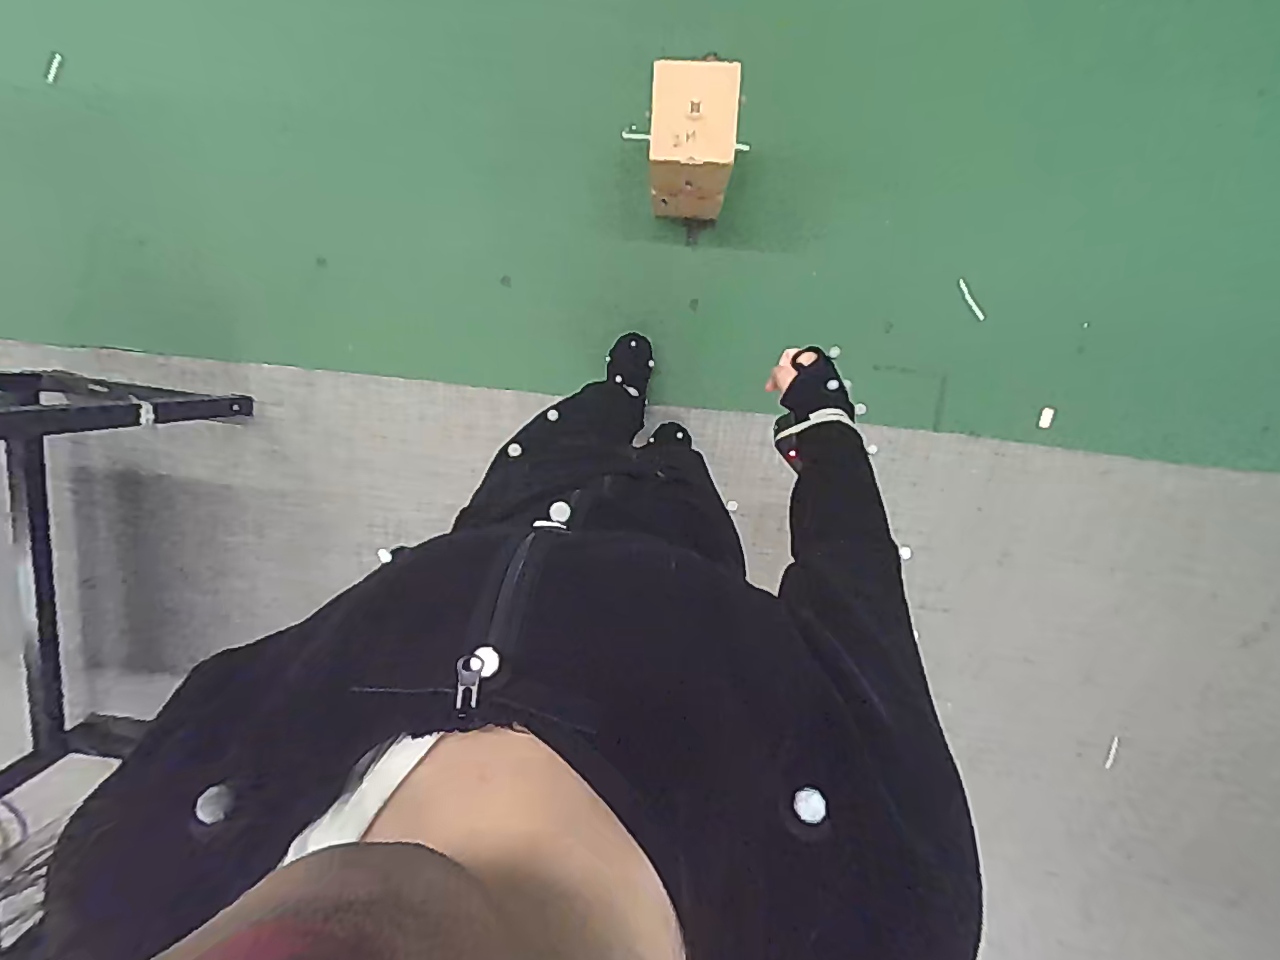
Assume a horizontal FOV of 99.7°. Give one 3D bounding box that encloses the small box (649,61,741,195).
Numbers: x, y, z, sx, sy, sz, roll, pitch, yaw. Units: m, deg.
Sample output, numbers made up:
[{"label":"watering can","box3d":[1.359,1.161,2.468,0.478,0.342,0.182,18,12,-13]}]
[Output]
[{"label":"small box","box3d":[0.107,-0.711,1.107,0.168,0.176,0.179,4,101,3]}]
